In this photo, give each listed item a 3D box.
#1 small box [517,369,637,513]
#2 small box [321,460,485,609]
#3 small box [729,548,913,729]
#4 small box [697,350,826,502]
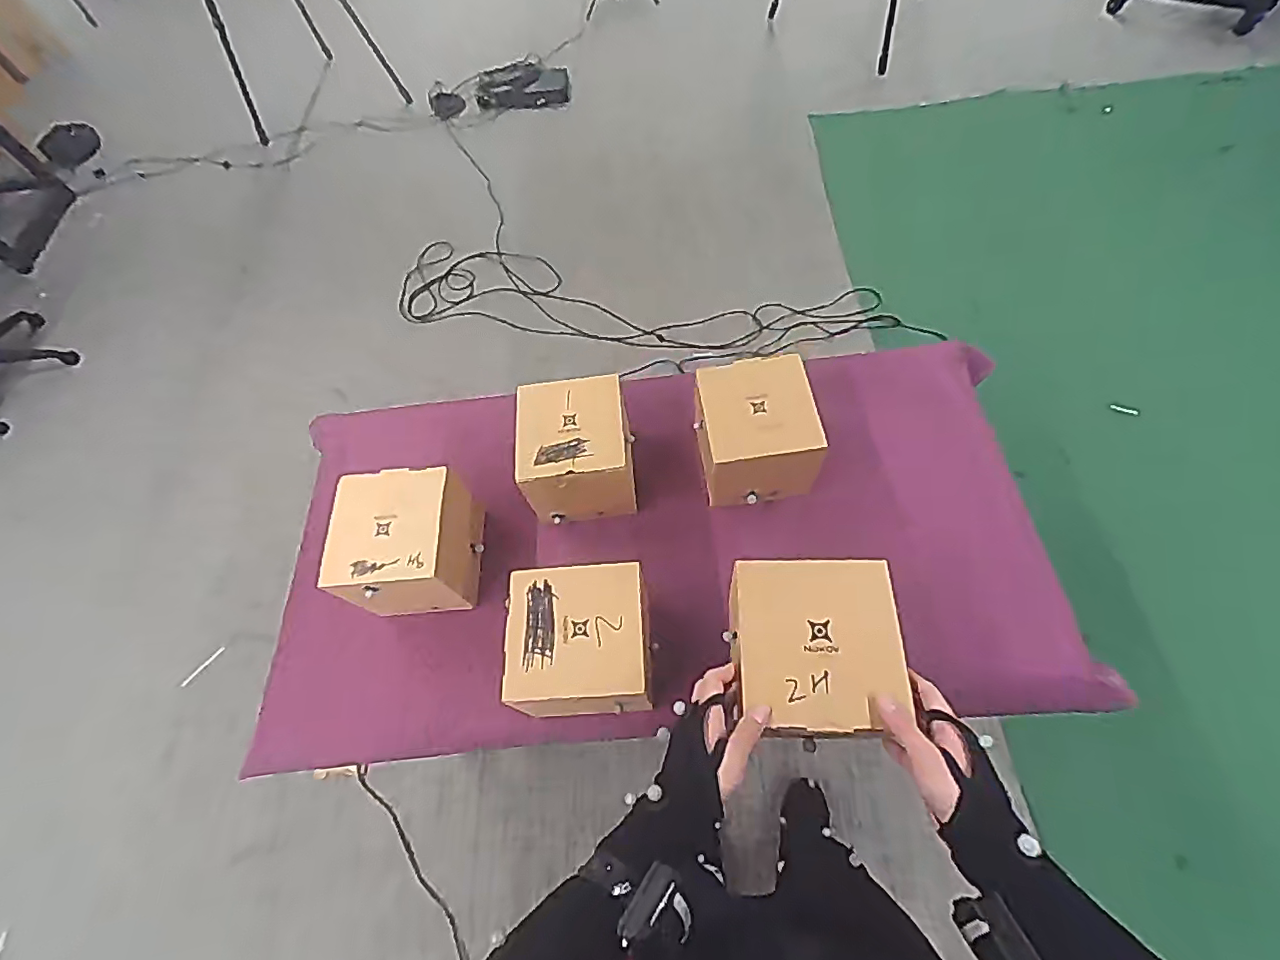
[{"bbox_3d":[-0.098,-0.055,0.894,0.168,0.176,0.179,-7,62,3],"label":"small box"},{"bbox_3d":[-0.352,0.090,0.845,0.168,0.176,0.179,-6,62,4],"label":"small box"},{"bbox_3d":[0.194,0.191,0.638,0.168,0.176,0.179,-1,63,6],"label":"small box"},{"bbox_3d":[0.184,-0.083,0.880,0.168,0.176,0.179,-8,63,3],"label":"small box"}]
